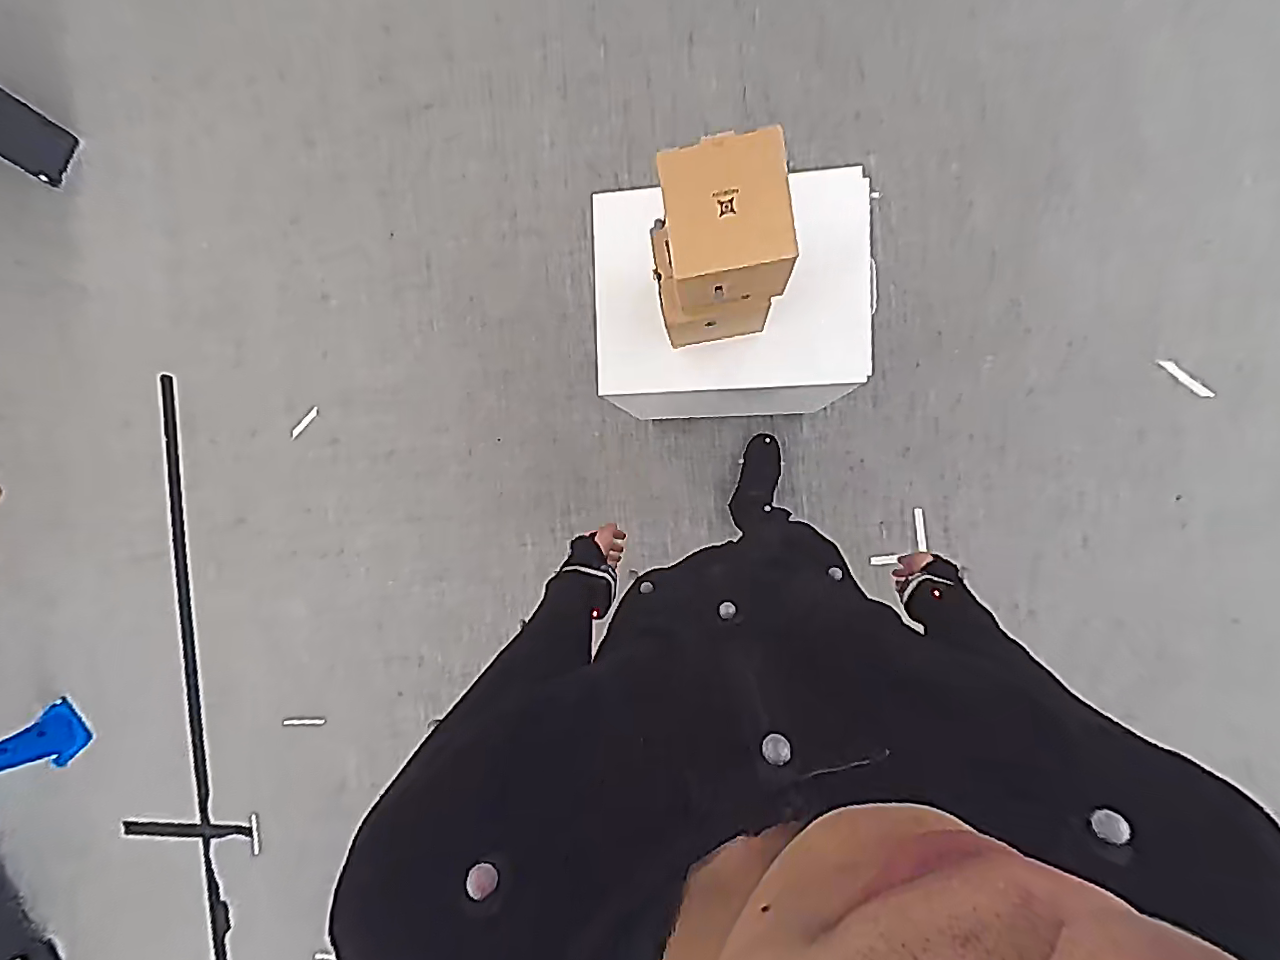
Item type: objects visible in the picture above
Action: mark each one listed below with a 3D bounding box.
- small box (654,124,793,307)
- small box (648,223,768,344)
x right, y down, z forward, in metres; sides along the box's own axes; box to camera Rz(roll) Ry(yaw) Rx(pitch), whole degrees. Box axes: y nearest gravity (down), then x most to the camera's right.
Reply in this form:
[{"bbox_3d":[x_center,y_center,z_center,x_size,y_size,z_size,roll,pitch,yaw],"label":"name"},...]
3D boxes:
[{"bbox_3d":[0.121,-0.365,0.787,0.168,0.176,0.179,-8,89,8],"label":"small box"},{"bbox_3d":[0.120,-0.348,0.951,0.179,0.176,0.168,-9,90,7],"label":"small box"}]
